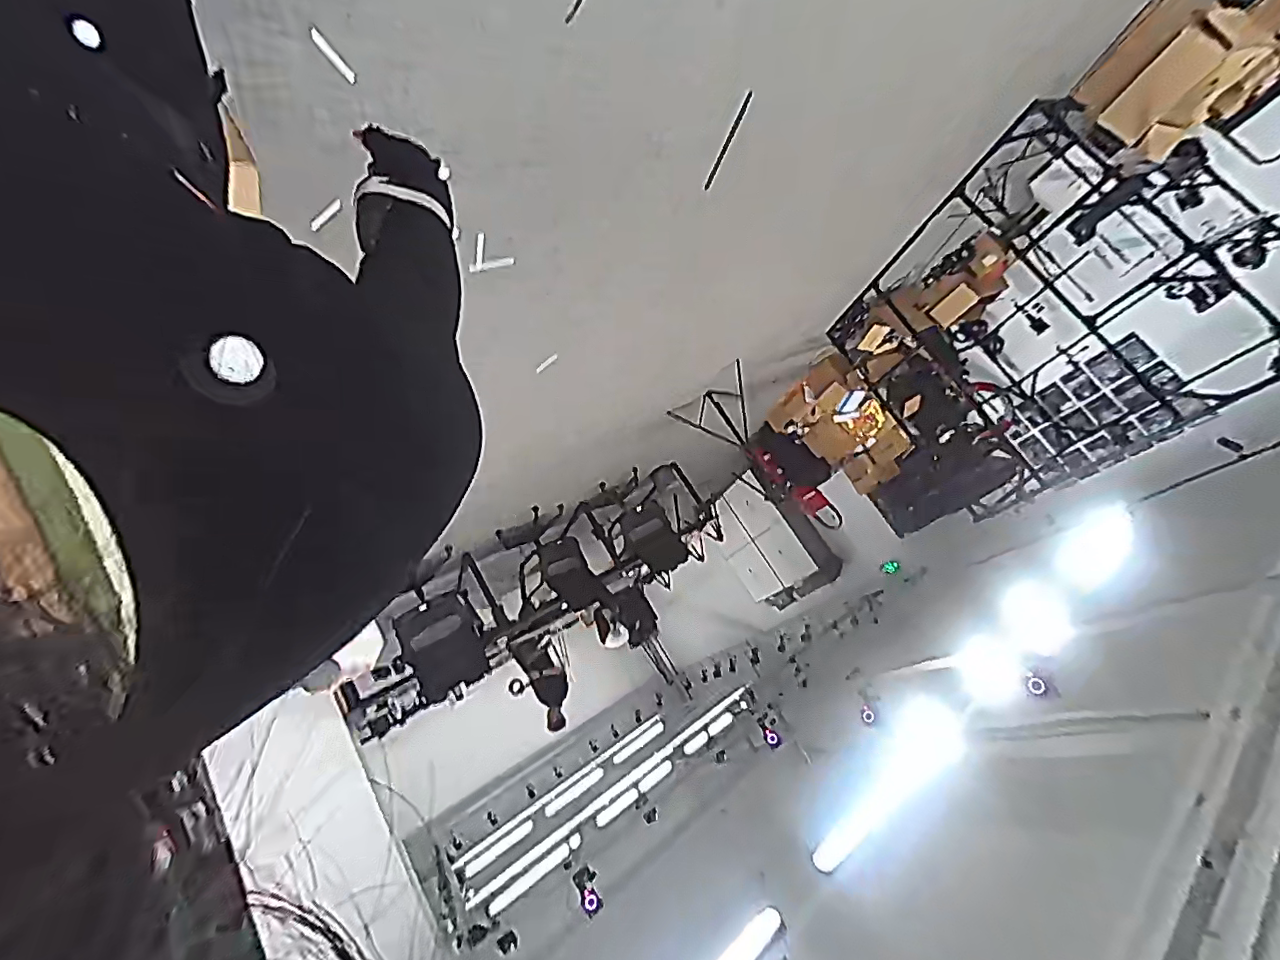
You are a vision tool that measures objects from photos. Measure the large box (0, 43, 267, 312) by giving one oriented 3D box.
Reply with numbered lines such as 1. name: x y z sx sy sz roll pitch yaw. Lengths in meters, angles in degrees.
1. large box: -1.011 -0.566 1.036 0.408 0.320 0.320 -23 162 -39
